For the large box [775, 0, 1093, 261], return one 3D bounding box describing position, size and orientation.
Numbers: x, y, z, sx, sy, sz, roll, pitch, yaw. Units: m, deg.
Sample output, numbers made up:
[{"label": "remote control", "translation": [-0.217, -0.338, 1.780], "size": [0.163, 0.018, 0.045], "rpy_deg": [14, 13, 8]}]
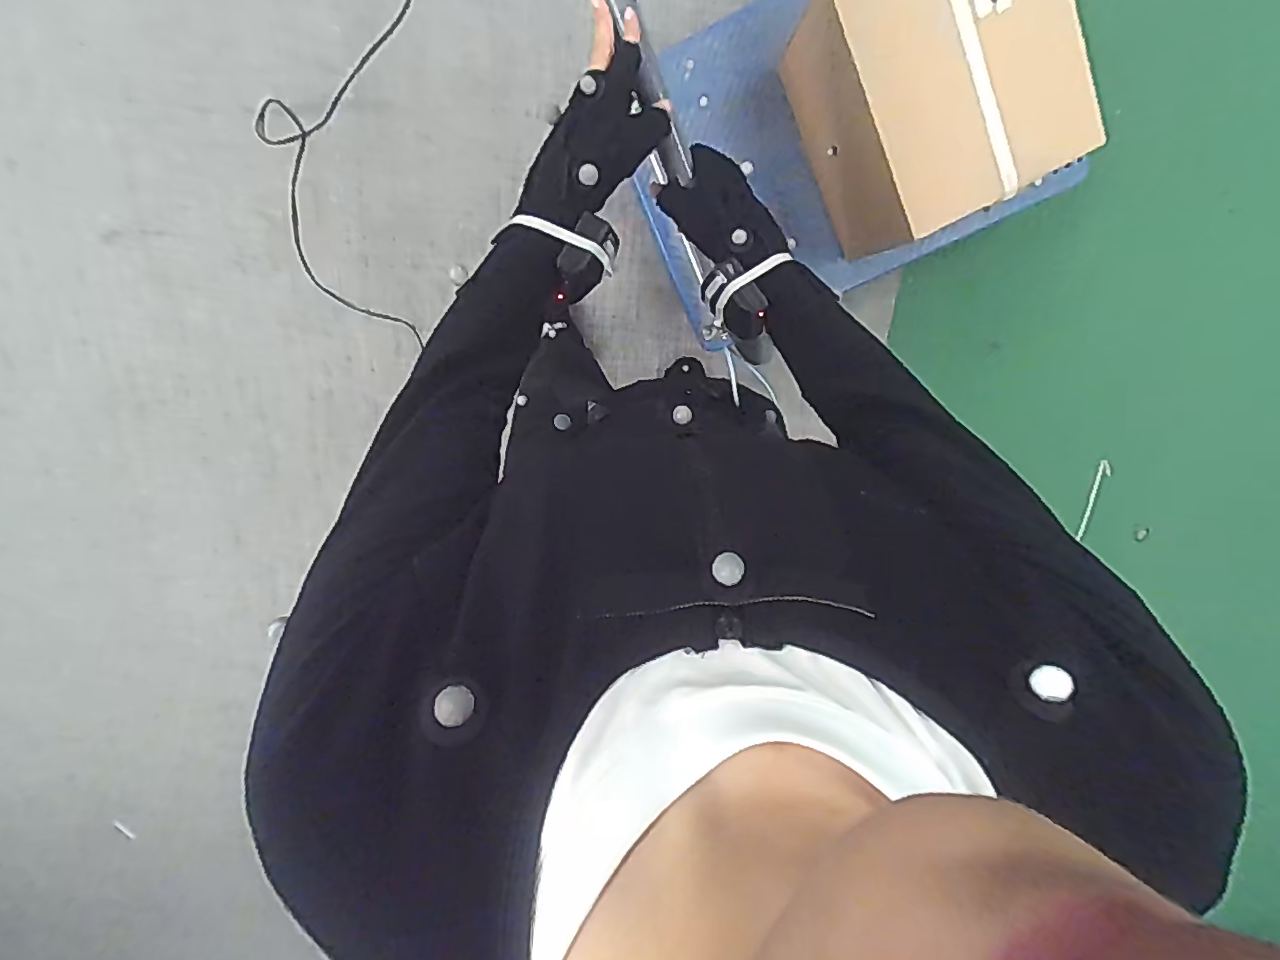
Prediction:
[{"label": "large box", "translation": [0.488, -0.666, 0.964], "size": [0.320, 0.320, 0.408], "rpy_deg": [-26, 104, 7]}]
